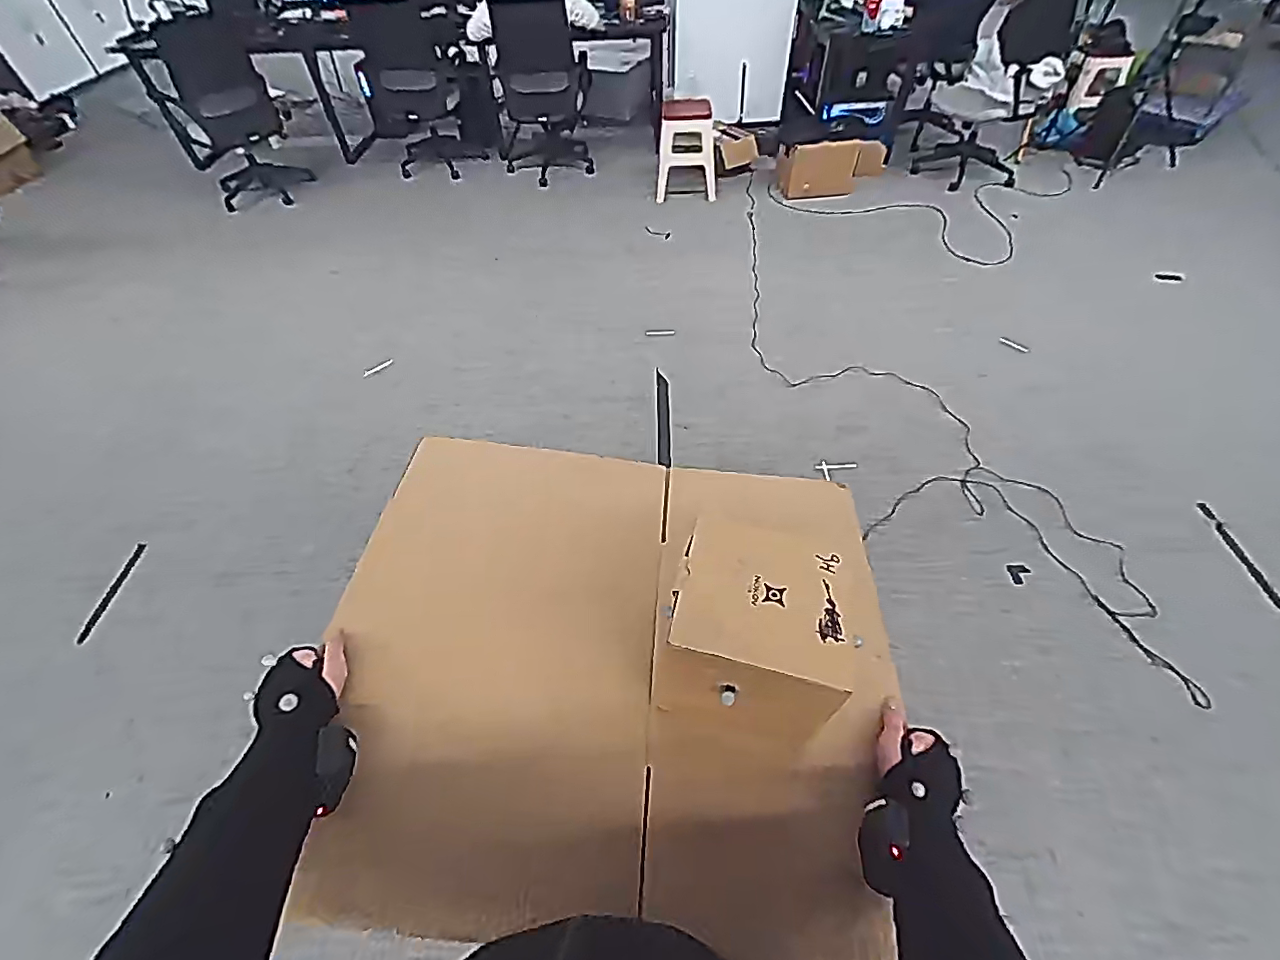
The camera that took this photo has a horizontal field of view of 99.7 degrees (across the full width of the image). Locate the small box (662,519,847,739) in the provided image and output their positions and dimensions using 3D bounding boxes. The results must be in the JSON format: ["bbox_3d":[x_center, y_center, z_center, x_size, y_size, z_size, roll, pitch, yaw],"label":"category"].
[{"bbox_3d":[0.125,0.173,0.619,0.179,0.176,0.168,11,48,9],"label":"small box"}]
